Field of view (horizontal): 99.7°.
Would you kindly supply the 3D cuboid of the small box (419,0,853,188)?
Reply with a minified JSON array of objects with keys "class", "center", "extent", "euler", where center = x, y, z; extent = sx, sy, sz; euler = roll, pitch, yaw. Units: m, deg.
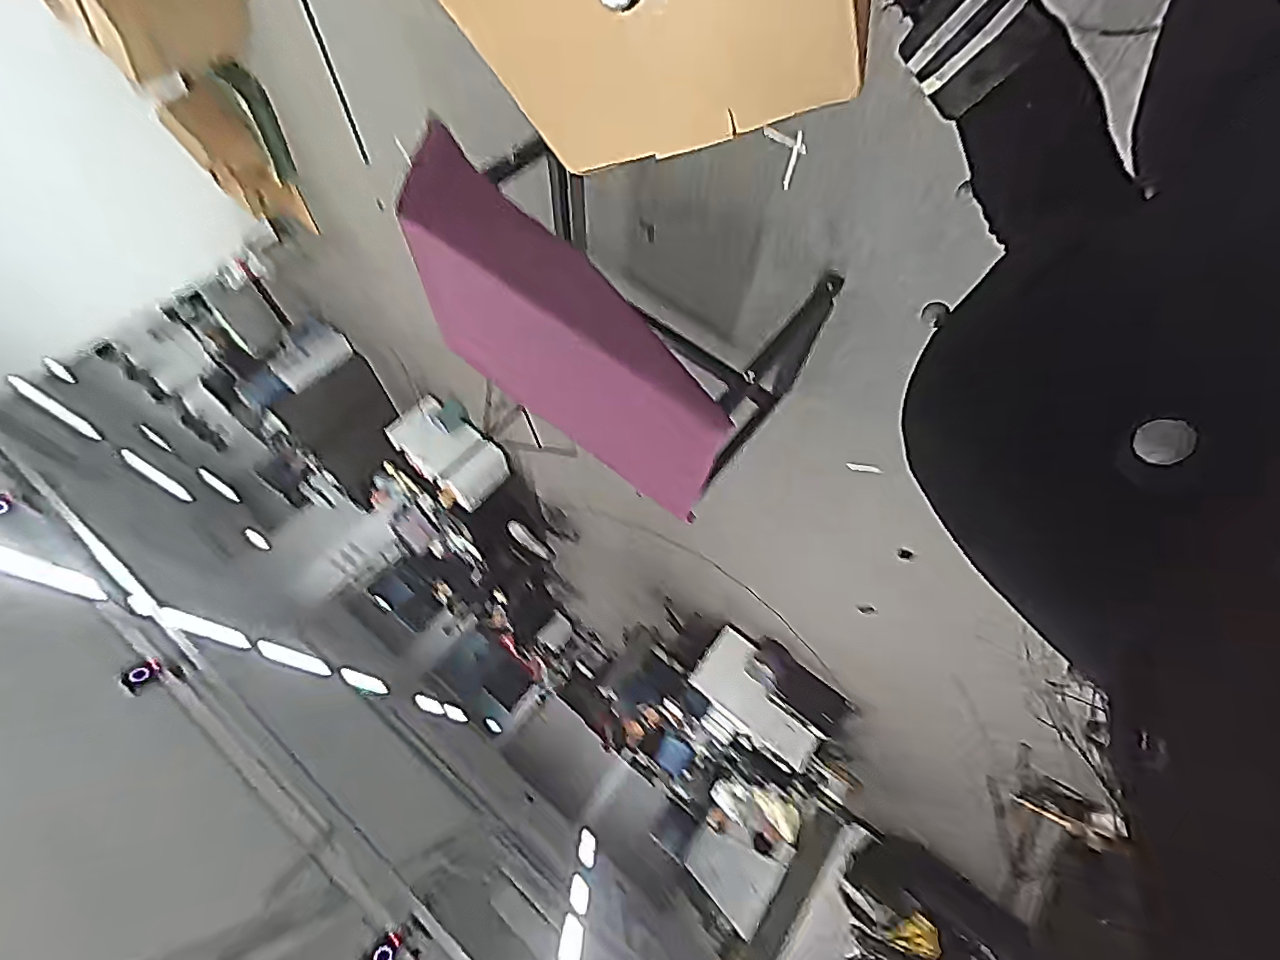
[{"class":"small box","center":[-0.005,-0.273,0.230],"extent":[0.168,0.179,0.176],"euler":[2,167,28]}]
